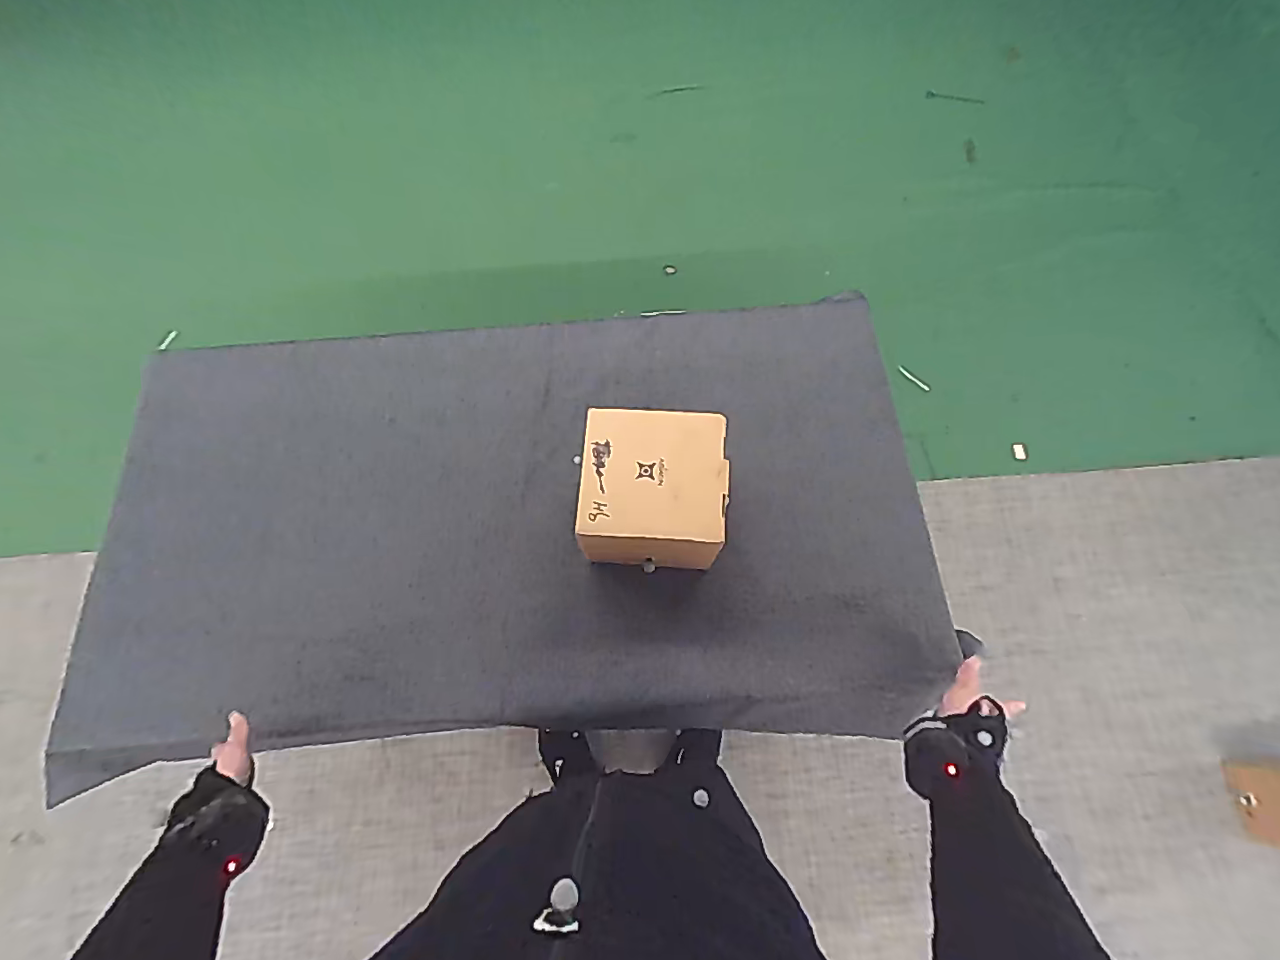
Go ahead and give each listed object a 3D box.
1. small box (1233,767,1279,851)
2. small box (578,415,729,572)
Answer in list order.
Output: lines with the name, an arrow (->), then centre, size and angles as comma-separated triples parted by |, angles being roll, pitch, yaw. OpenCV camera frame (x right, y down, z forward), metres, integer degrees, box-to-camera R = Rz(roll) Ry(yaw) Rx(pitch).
small box -> 1.525, 0.746, 1.212 | 0.179, 0.176, 0.168 | -2, 68, 0
small box -> 0.019, 0.027, 0.729 | 0.179, 0.176, 0.168 | 4, 70, 2
